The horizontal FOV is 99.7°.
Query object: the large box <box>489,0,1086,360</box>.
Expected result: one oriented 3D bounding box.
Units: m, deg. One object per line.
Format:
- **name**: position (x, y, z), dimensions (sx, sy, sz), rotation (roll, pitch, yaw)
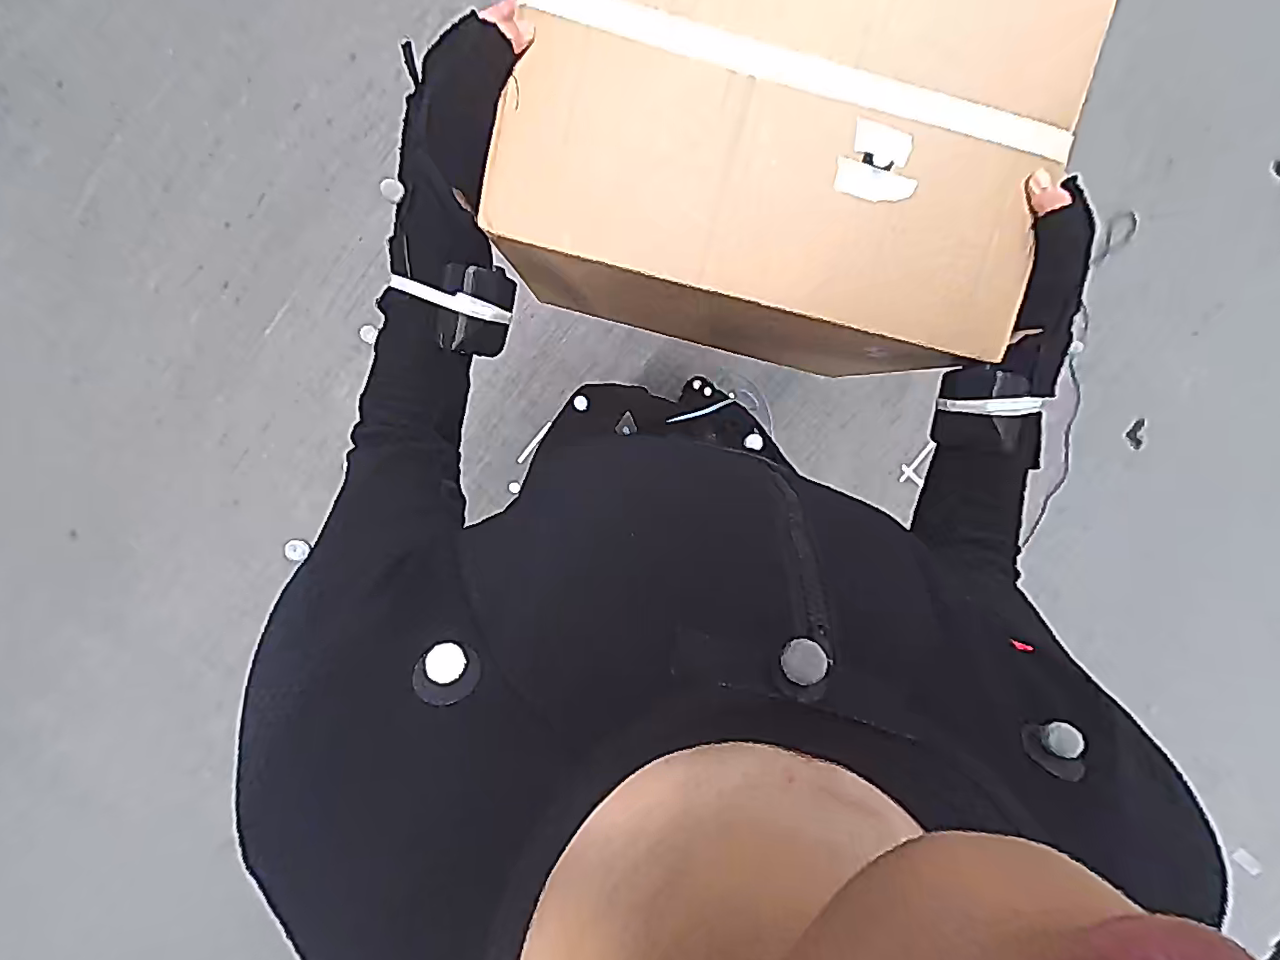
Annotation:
- **large box**: position (0.100, -0.318, 0.536), dimensions (0.408, 0.320, 0.320), rotation (12, 99, -5)
